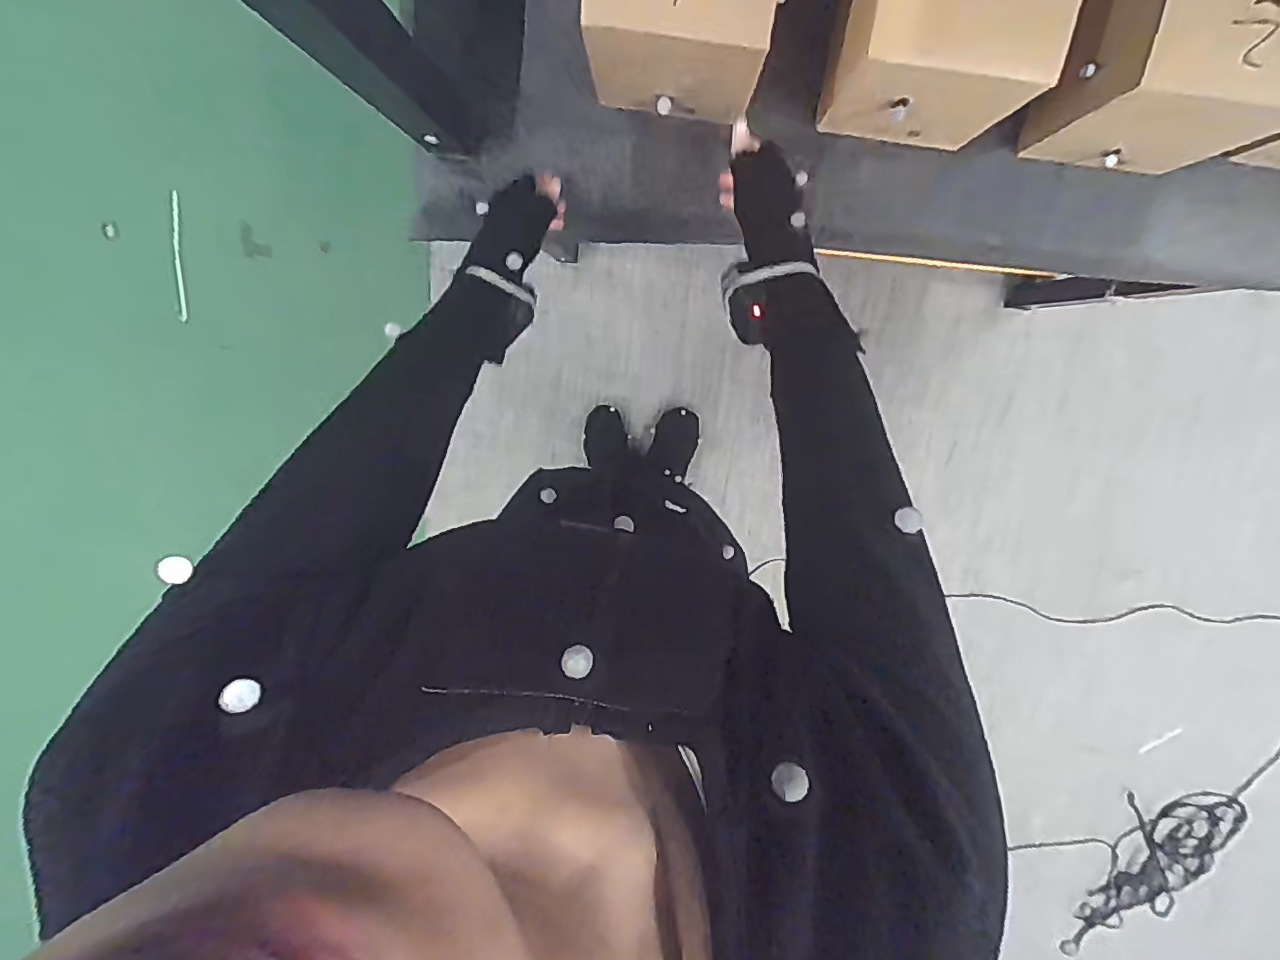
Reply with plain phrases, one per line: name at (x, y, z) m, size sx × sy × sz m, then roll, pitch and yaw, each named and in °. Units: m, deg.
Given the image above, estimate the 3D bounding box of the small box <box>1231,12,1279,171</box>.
small box at (0.738, -0.399, 0.508) m, size 0.168 × 0.176 × 0.179 m, roll 10°, pitch 103°, yaw 0°

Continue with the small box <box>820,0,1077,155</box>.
small box at (0.288, -0.443, 0.522) m, size 0.168 × 0.176 × 0.179 m, roll 9°, pitch 103°, yaw 0°

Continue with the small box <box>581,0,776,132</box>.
small box at (0.044, -0.477, 0.524) m, size 0.168 × 0.176 × 0.179 m, roll 9°, pitch 104°, yaw 1°
